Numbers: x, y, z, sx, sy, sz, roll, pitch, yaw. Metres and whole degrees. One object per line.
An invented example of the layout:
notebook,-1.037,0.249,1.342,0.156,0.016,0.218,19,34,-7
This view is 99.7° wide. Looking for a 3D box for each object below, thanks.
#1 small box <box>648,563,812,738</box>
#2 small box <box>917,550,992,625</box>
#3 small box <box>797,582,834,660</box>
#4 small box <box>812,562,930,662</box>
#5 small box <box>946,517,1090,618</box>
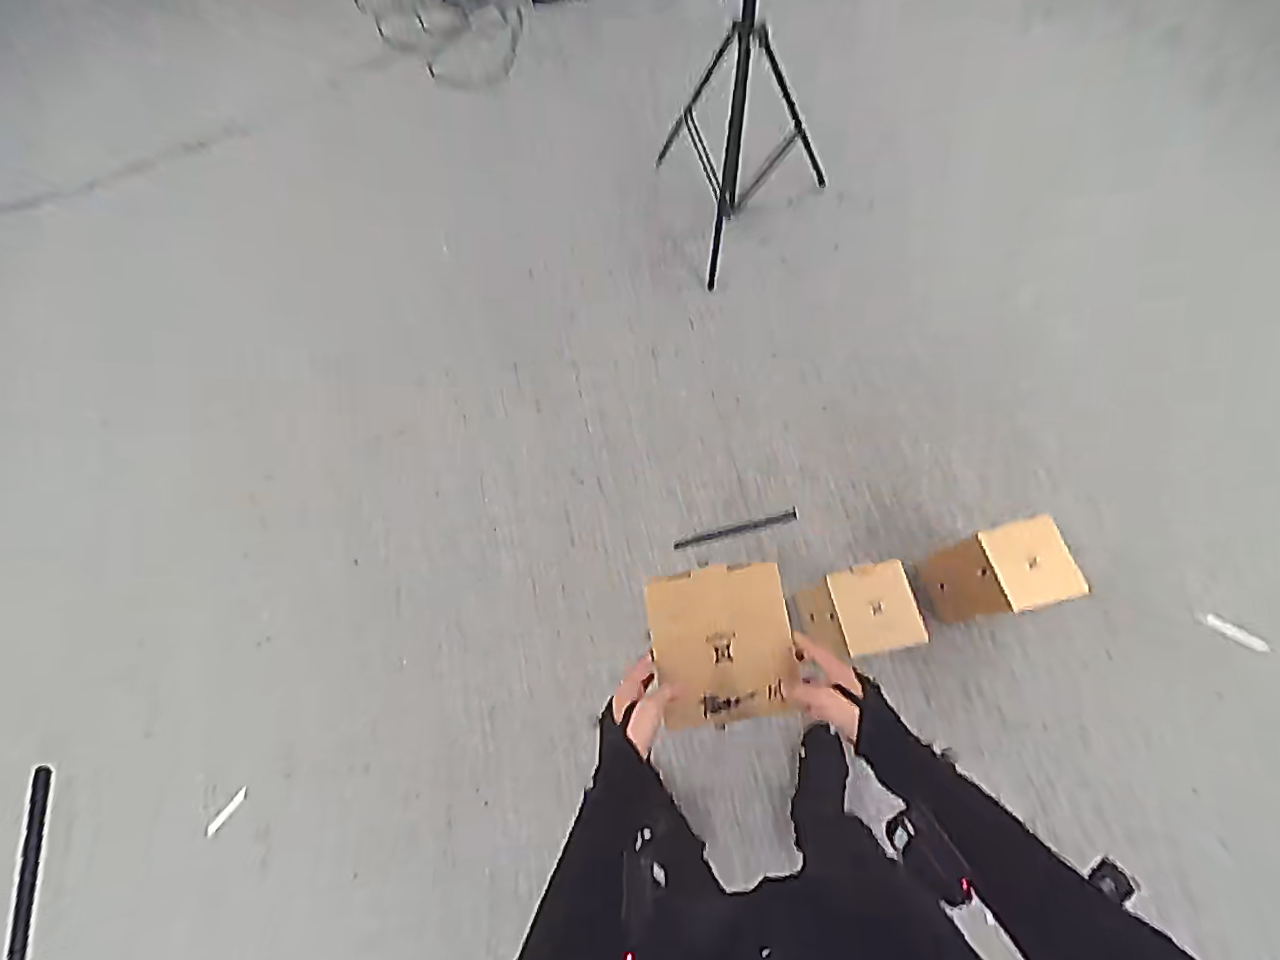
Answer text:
small box,0.102,0.207,0.696,0.168,0.176,0.179,-9,80,1
small box,0.836,0.258,1.359,0.168,0.176,0.179,-16,70,-1
small box,0.507,0.345,1.352,0.168,0.176,0.179,-13,71,0
small box,0.498,0.296,1.195,0.168,0.176,0.179,-13,70,0
small box,0.828,0.203,1.206,0.168,0.176,0.179,-15,69,-1
